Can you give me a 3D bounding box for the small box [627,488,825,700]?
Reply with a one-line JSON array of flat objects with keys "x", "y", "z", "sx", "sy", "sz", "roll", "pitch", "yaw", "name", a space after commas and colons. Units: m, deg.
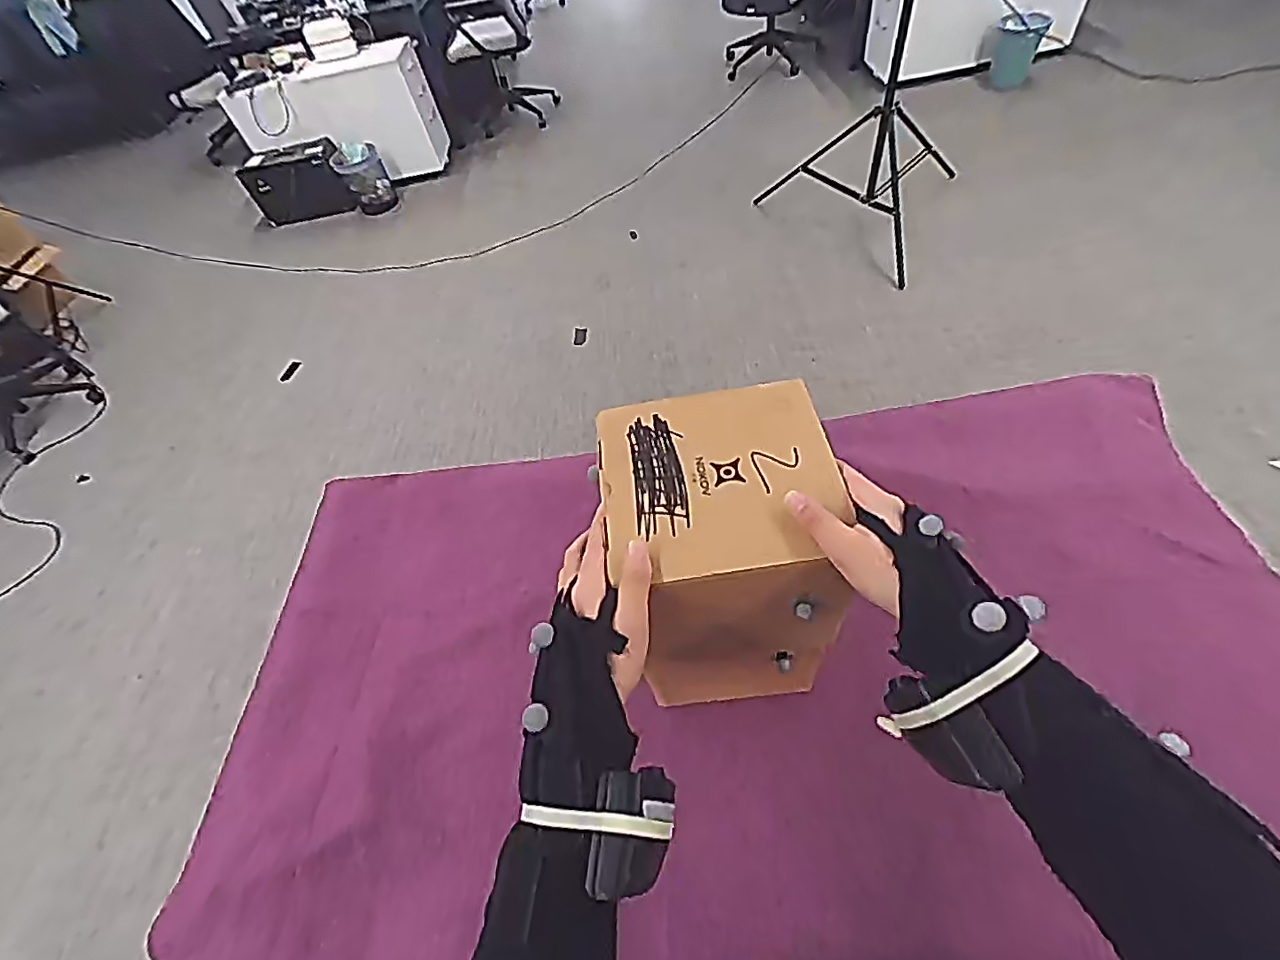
[{"x": 0.089, "y": 0.132, "z": 0.597, "sx": 0.179, "sy": 0.176, "sz": 0.168, "roll": -8, "pitch": 53, "yaw": 4, "name": "small box"}]
